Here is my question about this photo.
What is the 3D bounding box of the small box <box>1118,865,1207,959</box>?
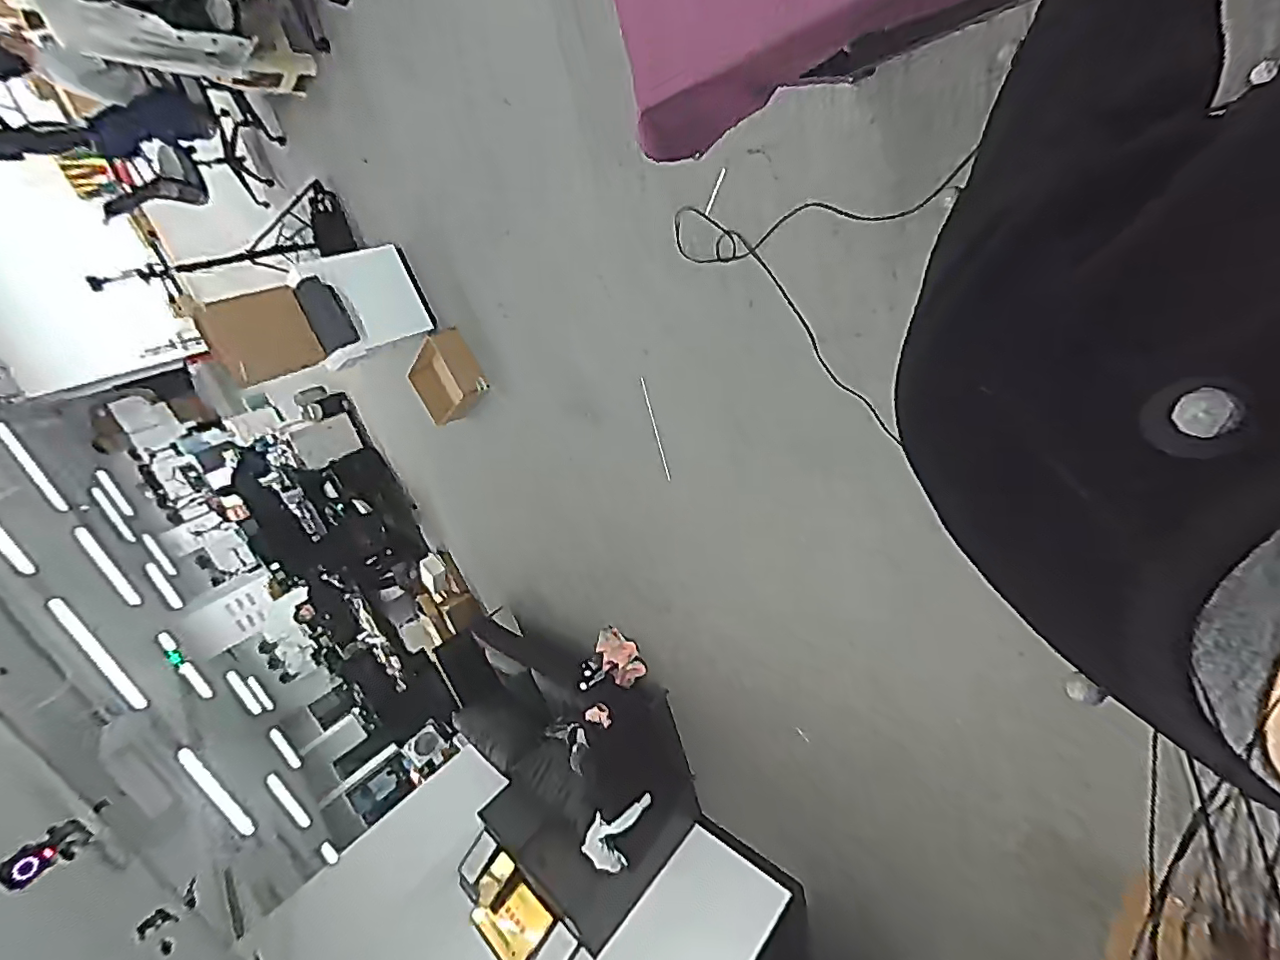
[{"bbox_3d":[1.586,1.334,1.644,0.168,0.176,0.179,19,129,39],"label":"small box"}]
